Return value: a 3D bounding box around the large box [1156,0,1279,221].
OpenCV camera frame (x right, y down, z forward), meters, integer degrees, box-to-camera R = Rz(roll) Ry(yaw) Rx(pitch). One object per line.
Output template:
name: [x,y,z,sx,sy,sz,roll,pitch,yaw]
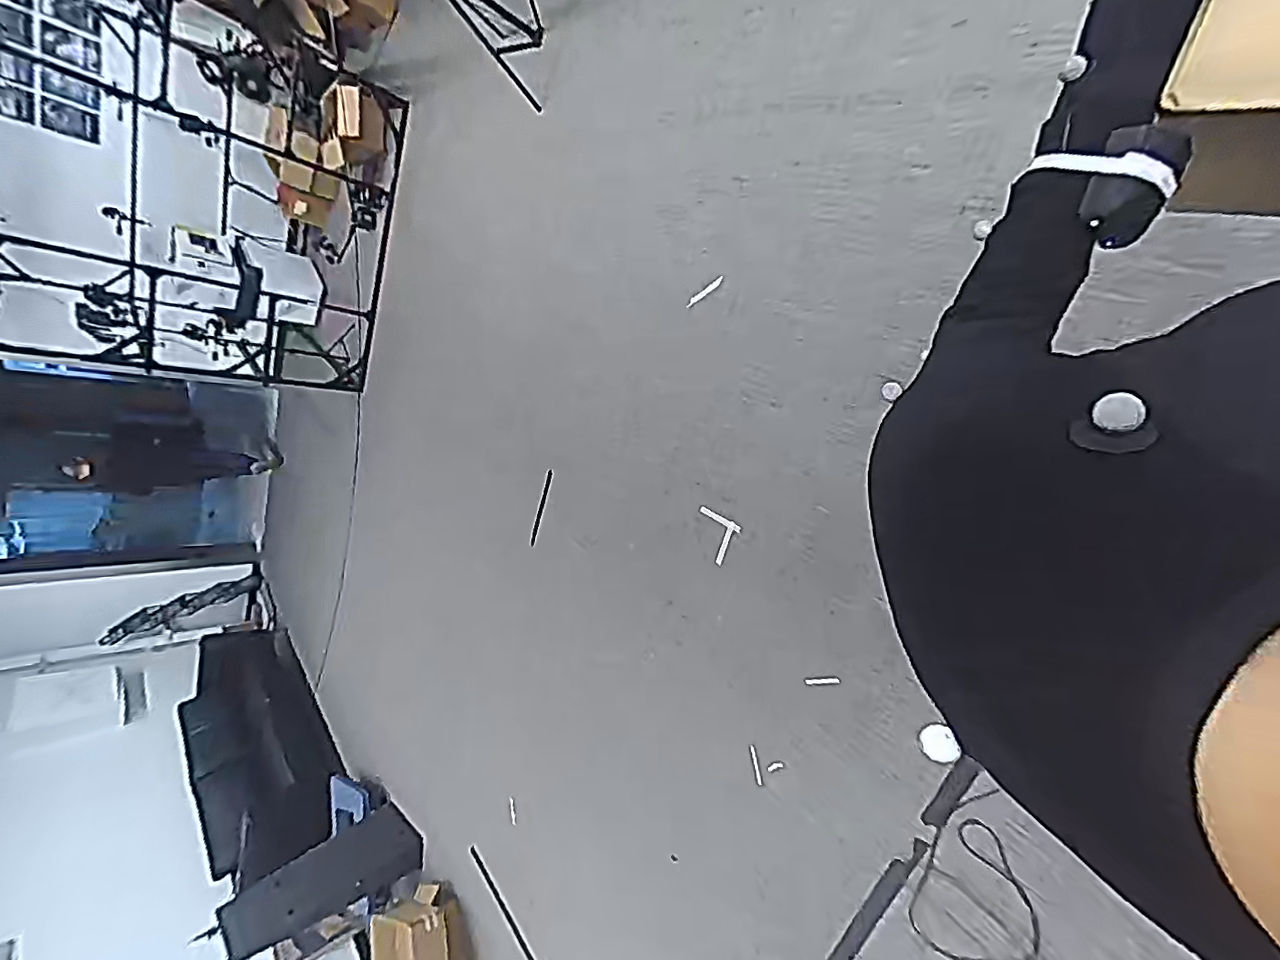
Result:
large box: [0.626,-0.345,0.316,0.408,0.320,0.320,27,116,38]
